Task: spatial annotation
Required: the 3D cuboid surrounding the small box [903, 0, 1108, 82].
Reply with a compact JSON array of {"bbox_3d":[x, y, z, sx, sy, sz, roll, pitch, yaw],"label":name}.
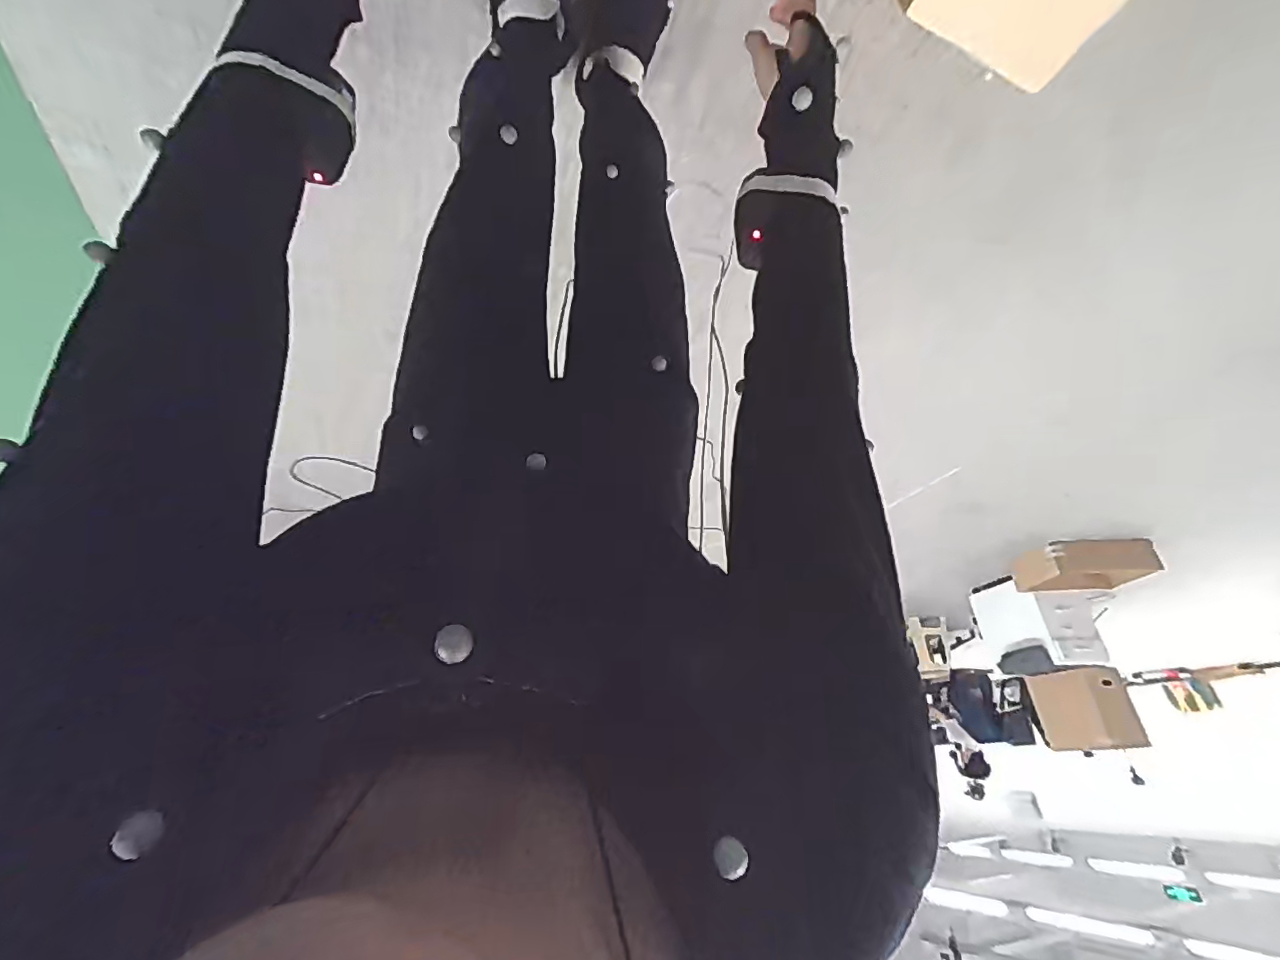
[{"bbox_3d":[0.326,-0.503,0.467,0.179,0.176,0.168,8,150,-22],"label":"small box"}]
